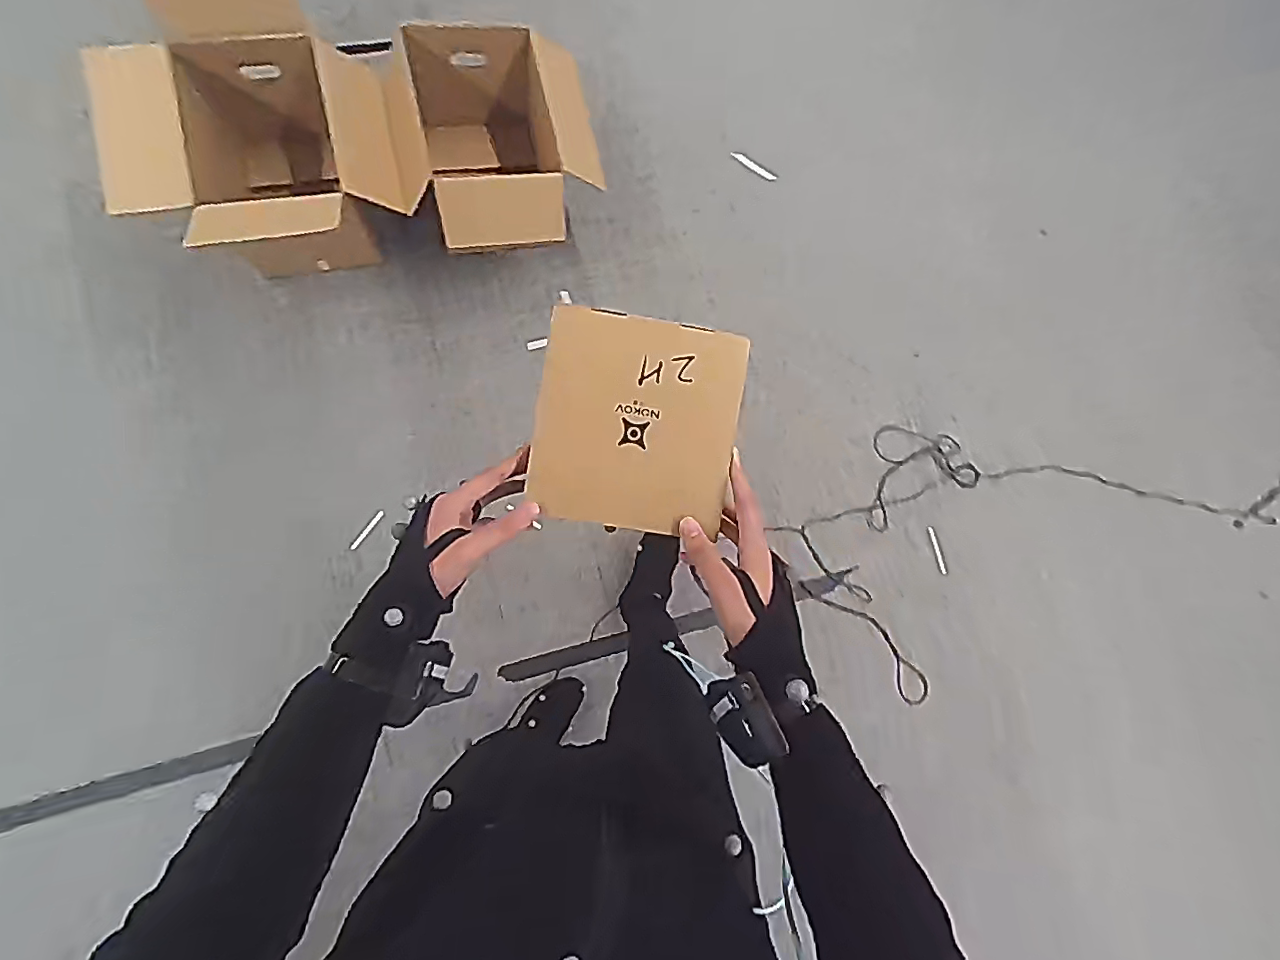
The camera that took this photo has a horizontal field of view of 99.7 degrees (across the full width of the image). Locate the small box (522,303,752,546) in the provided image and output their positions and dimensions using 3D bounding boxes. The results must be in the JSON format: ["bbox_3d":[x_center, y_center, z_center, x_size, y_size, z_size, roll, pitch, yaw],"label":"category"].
[{"bbox_3d":[-0.006,-0.046,0.516,0.168,0.176,0.179,9,91,-4],"label":"small box"}]
